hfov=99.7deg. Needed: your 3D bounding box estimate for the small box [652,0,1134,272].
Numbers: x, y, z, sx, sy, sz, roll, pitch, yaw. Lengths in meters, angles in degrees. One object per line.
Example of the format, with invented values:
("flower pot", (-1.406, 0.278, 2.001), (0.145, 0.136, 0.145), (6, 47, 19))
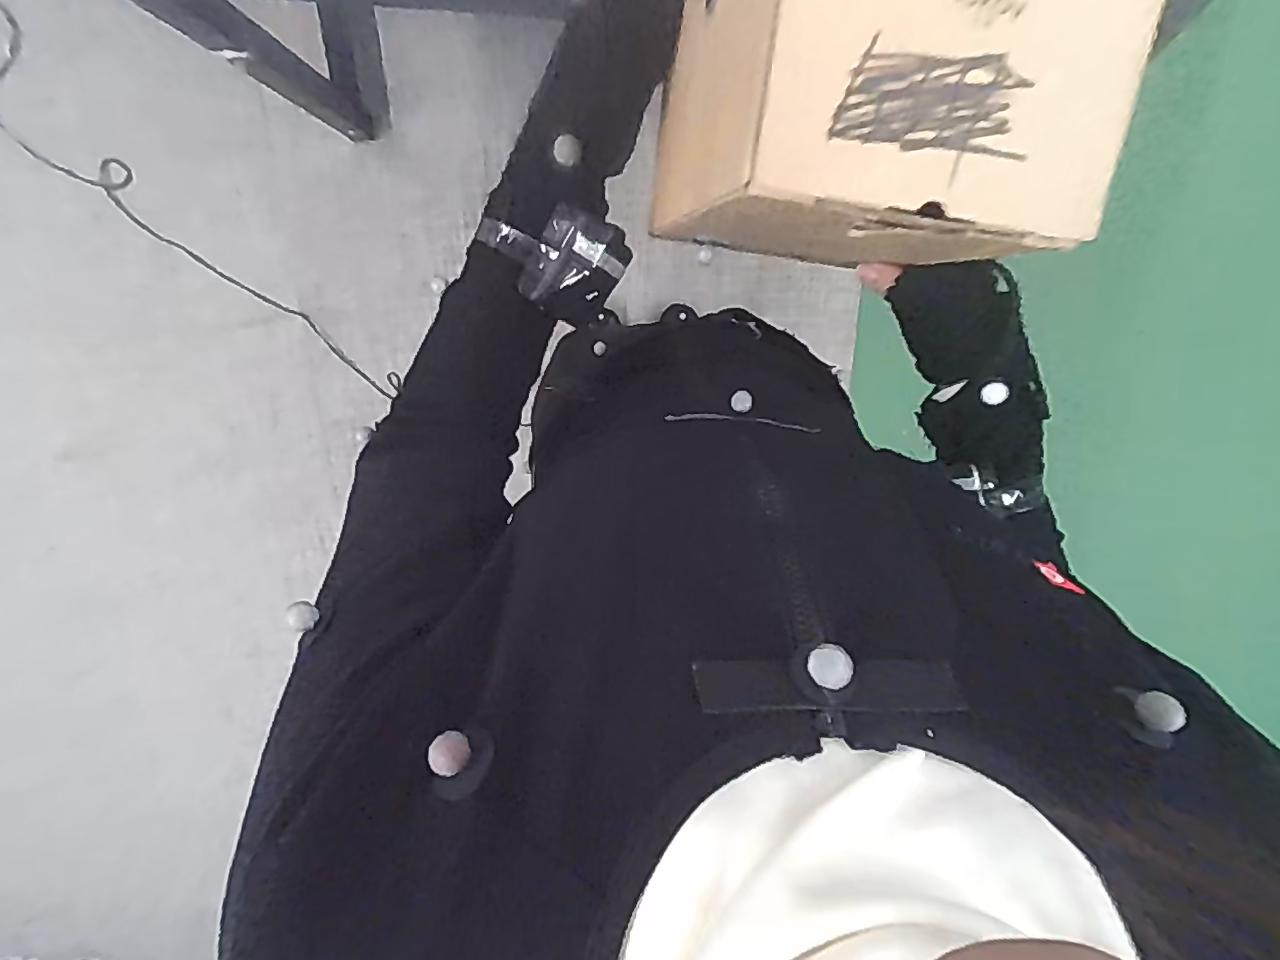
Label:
("small box", (0.109, -0.215, 0.289), (0.168, 0.176, 0.179), (3, 106, -14))
